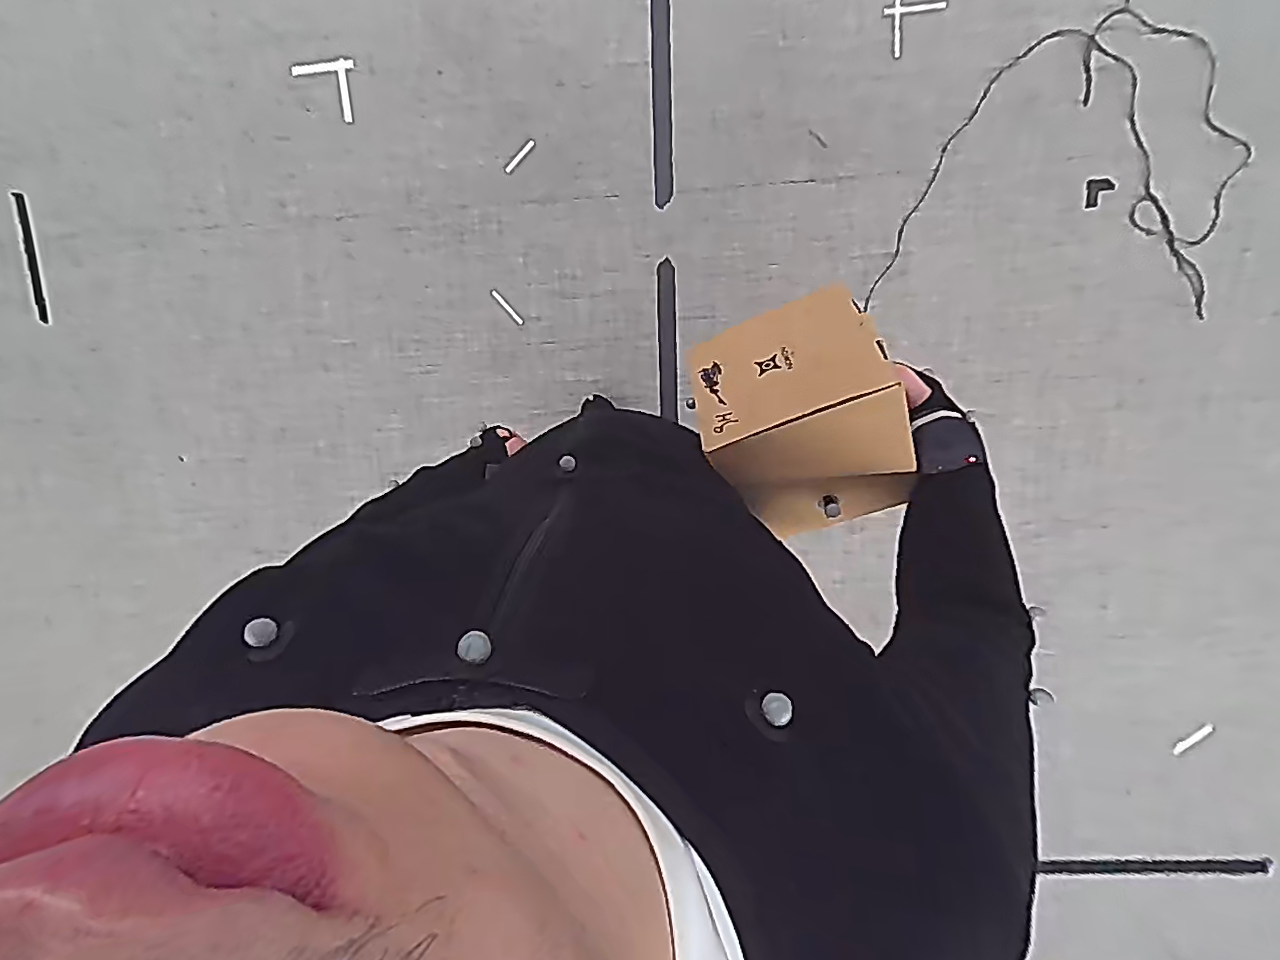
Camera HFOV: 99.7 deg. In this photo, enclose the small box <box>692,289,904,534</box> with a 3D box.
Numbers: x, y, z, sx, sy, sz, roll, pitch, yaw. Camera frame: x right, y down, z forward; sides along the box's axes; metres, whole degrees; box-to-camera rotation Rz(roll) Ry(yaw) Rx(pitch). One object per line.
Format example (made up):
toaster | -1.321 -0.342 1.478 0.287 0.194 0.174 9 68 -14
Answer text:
small box | 0.173 -0.067 0.591 0.179 0.168 0.176 -19 134 18
